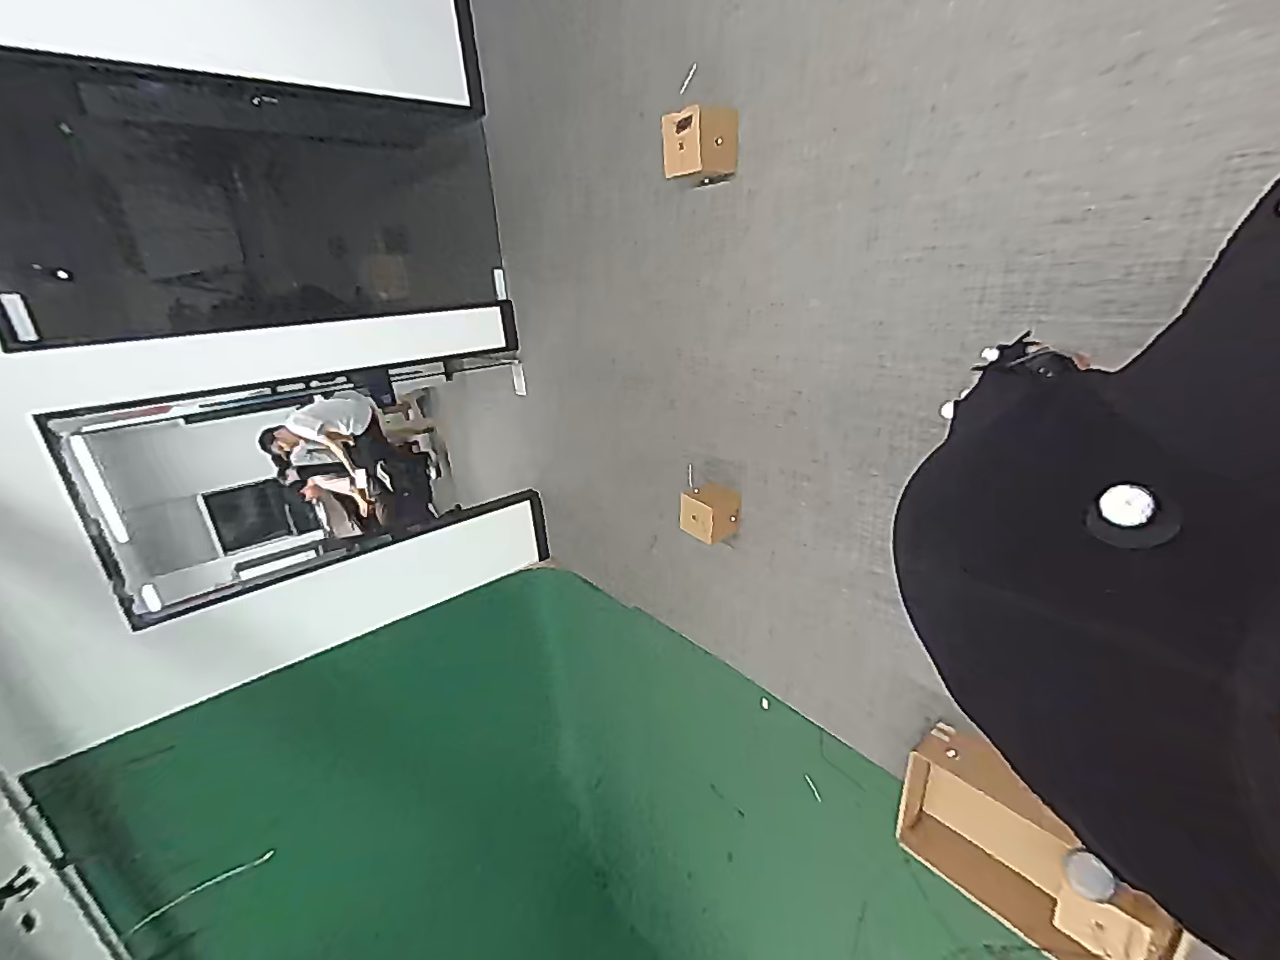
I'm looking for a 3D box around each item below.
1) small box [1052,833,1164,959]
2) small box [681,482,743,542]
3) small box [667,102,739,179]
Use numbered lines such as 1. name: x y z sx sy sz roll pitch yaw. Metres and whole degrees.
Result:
1. small box: 1.155 1.034 1.334 0.168 0.176 0.179 17 118 49
2. small box: 0.287 0.118 2.159 0.179 0.176 0.168 27 127 44
3. small box: 0.202 -1.072 1.722 0.168 0.176 0.179 22 123 47
